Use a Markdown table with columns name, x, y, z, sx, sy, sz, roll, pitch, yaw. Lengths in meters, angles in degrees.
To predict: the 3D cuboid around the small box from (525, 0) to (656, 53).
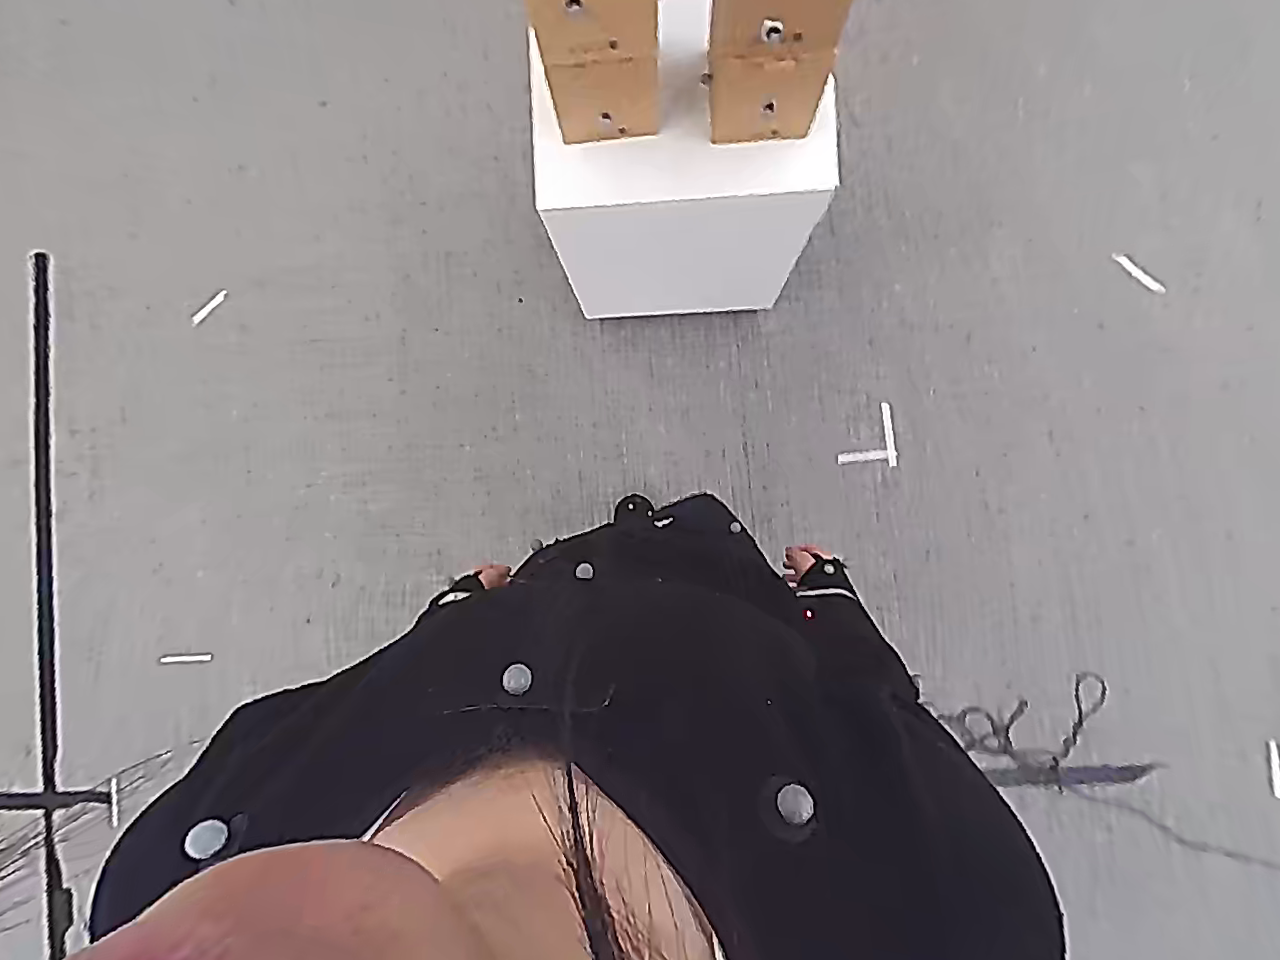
| name | x | y | z | sx | sy | sz | roll | pitch | yaw |
| --- | --- | --- | --- | --- | --- | --- | --- | --- | --- |
| small box | -0.068 | -0.684 | 0.683 | 0.168 | 0.176 | 0.179 | -4 | 87 | 2 |

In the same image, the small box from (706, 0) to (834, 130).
| name | x | y | z | sx | sy | sz | roll | pitch | yaw |
| --- | --- | --- | --- | --- | --- | --- | --- | --- | --- |
| small box | 0.191 | -0.671 | 0.832 | 0.168 | 0.176 | 0.179 | -2 | 89 | 3 |

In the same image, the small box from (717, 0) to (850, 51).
| name | x | y | z | sx | sy | sz | roll | pitch | yaw |
| --- | --- | --- | --- | --- | --- | --- | --- | --- | --- |
| small box | 0.182 | -0.687 | 0.671 | 0.168 | 0.176 | 0.179 | -2 | 88 | 5 |
